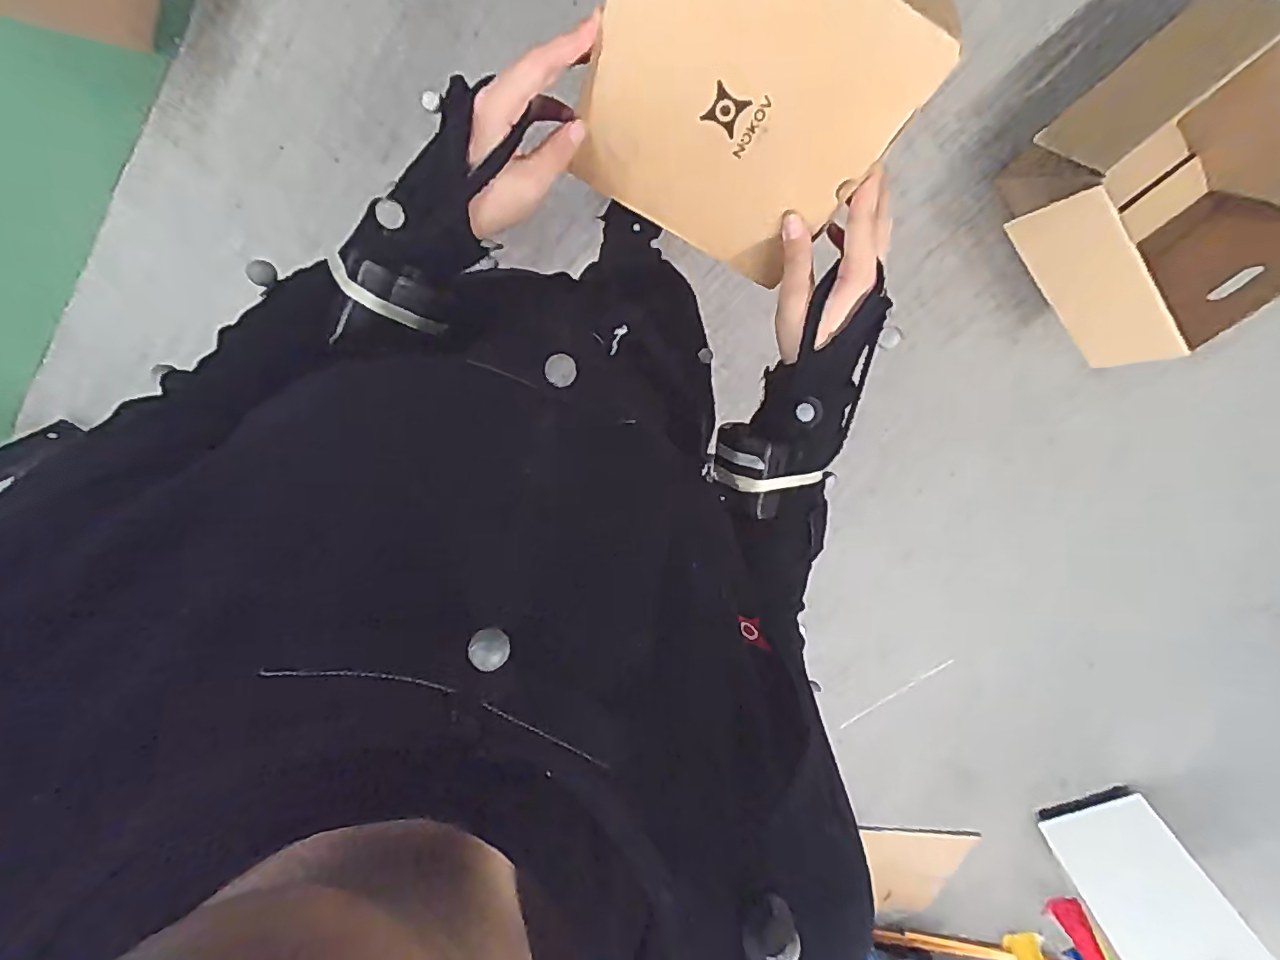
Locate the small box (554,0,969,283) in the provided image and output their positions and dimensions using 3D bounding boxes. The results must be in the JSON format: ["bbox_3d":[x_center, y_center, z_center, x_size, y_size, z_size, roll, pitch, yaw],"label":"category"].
[{"bbox_3d":[0.071,-0.275,0.353,0.179,0.176,0.168,25,144,-12],"label":"small box"}]
